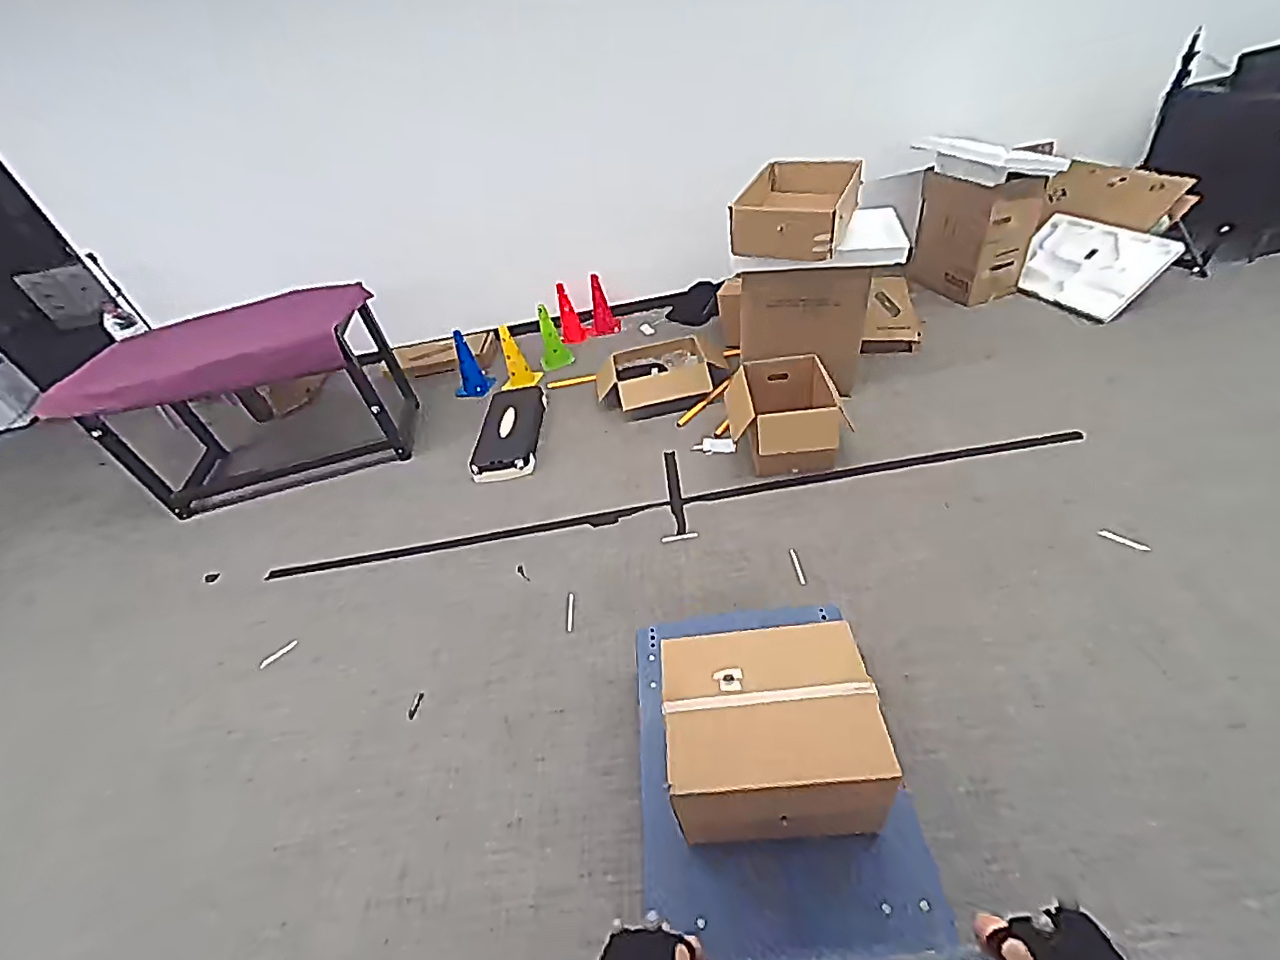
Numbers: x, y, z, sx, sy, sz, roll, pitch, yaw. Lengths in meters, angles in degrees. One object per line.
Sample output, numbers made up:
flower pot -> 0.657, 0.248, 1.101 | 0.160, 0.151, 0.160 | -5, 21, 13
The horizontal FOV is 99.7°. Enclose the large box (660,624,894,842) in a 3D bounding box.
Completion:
large box -> 0.273, 0.550, 1.168 | 0.408, 0.320, 0.320 | -9, 40, 6
